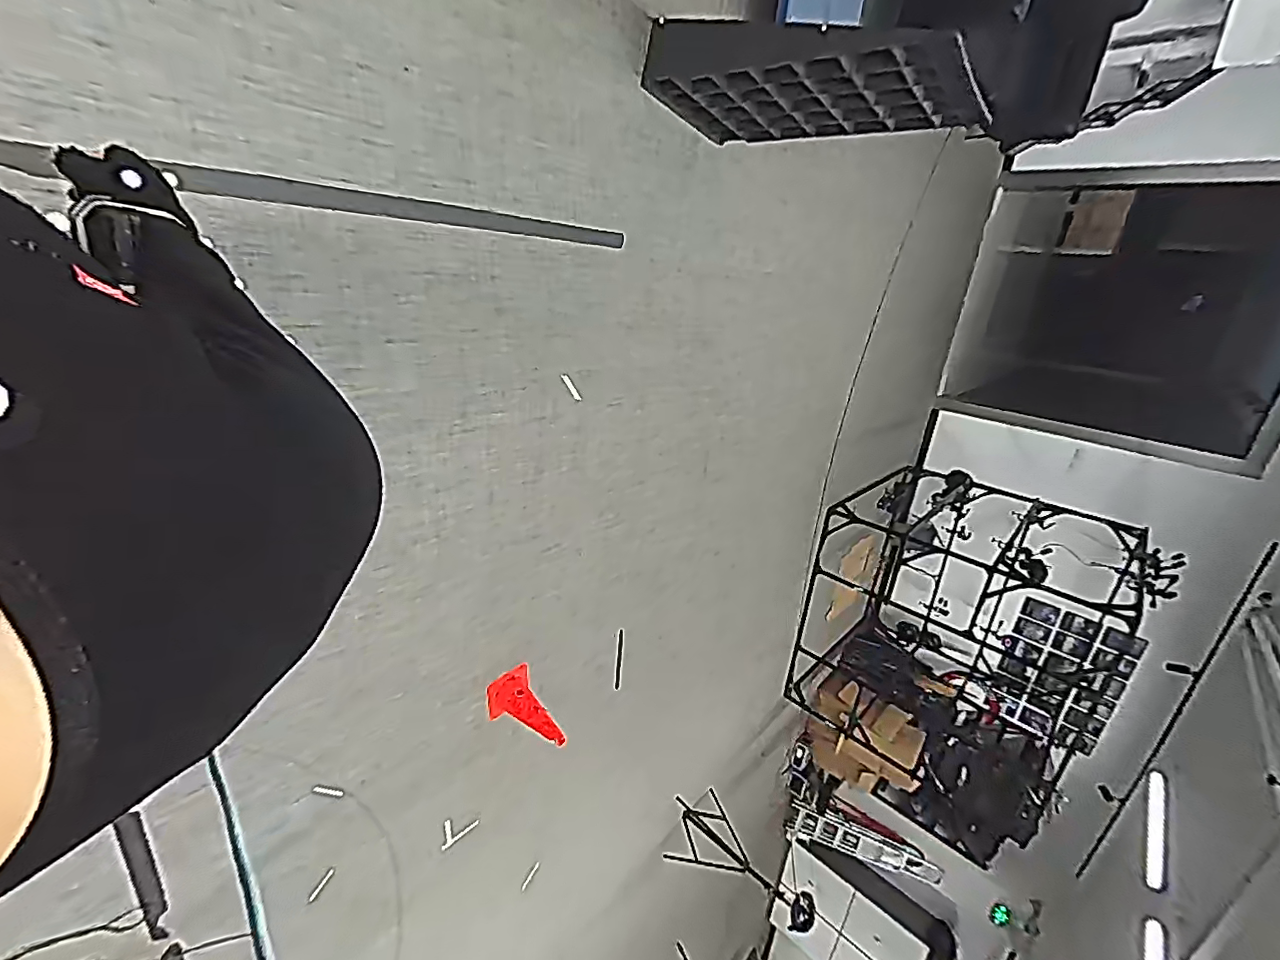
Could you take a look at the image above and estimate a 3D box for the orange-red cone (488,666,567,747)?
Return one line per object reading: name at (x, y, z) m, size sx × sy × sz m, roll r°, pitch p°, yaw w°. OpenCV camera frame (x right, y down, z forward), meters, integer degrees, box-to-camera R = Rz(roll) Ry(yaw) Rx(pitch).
orange-red cone at (-0.420, 0.940, 2.147) m, size 0.198 × 0.360 × 0.199 m, roll -22°, pitch 123°, yaw -43°
